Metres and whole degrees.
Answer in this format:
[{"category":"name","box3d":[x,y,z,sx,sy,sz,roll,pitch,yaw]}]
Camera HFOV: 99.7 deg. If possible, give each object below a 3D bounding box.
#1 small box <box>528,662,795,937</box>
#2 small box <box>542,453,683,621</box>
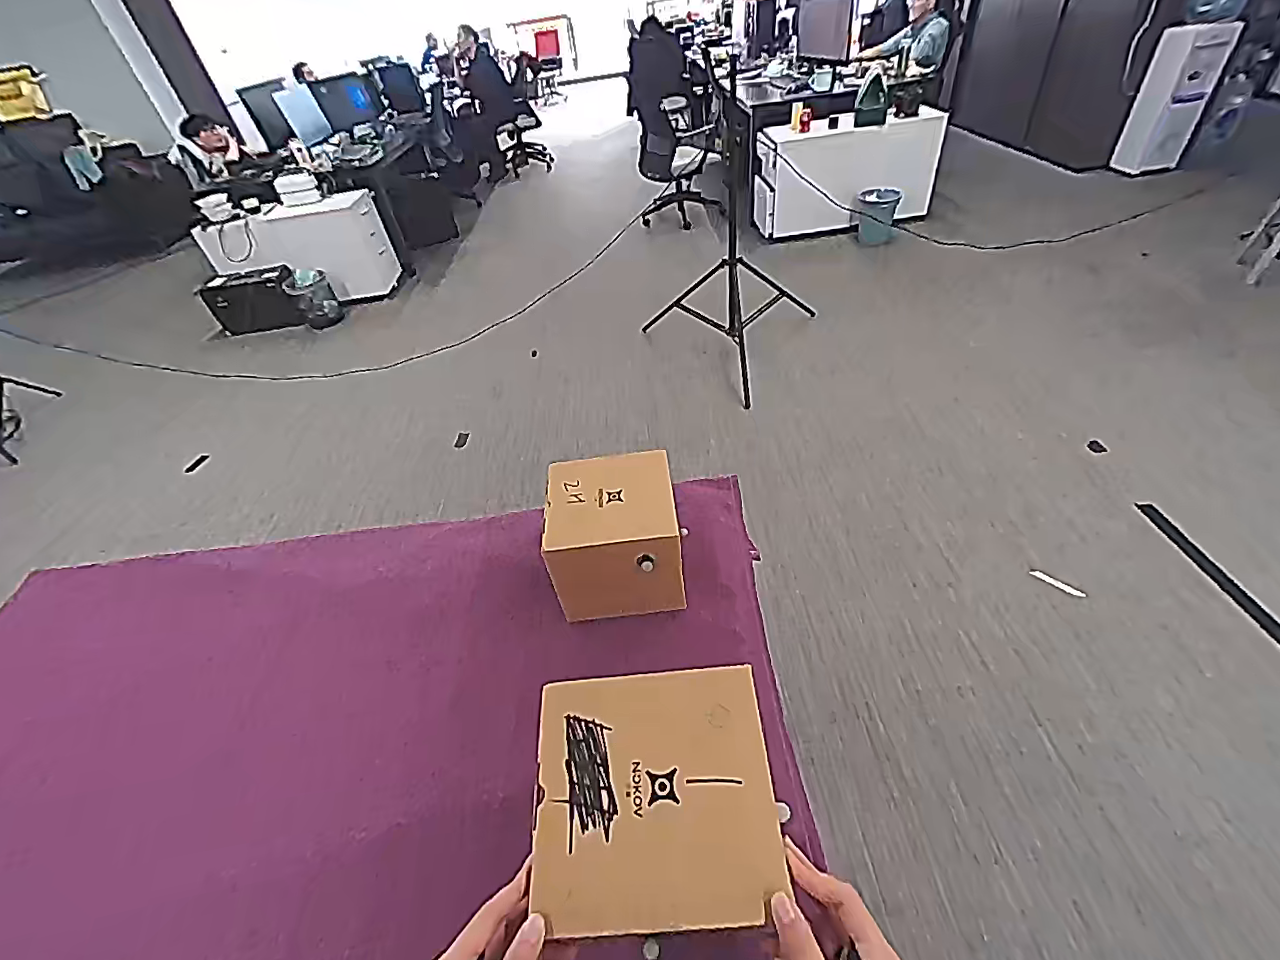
[{"category":"small box","box3d":[0.022,0.271,0.454,0.179,0.176,0.168,-8,49,4]},{"category":"small box","box3d":[-0.032,0.084,0.780,0.179,0.176,0.168,-7,43,2]}]
